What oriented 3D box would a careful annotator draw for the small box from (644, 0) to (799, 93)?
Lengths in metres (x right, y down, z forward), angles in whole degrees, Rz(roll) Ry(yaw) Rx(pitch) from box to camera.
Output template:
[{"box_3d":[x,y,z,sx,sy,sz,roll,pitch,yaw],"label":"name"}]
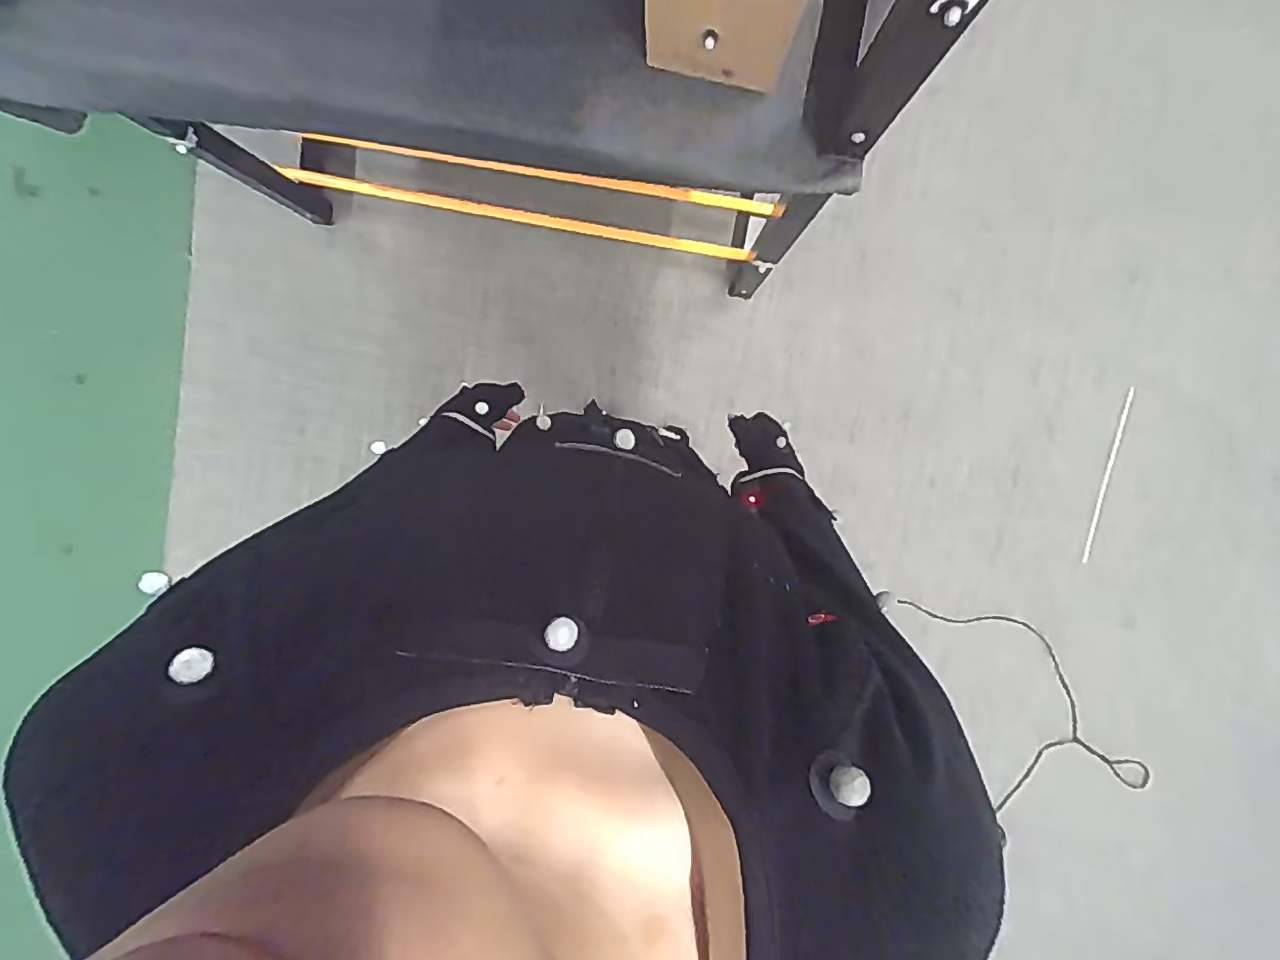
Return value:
[{"box_3d":[0.103,-0.578,0.598,0.168,0.176,0.179,14,96,0],"label":"small box"}]
